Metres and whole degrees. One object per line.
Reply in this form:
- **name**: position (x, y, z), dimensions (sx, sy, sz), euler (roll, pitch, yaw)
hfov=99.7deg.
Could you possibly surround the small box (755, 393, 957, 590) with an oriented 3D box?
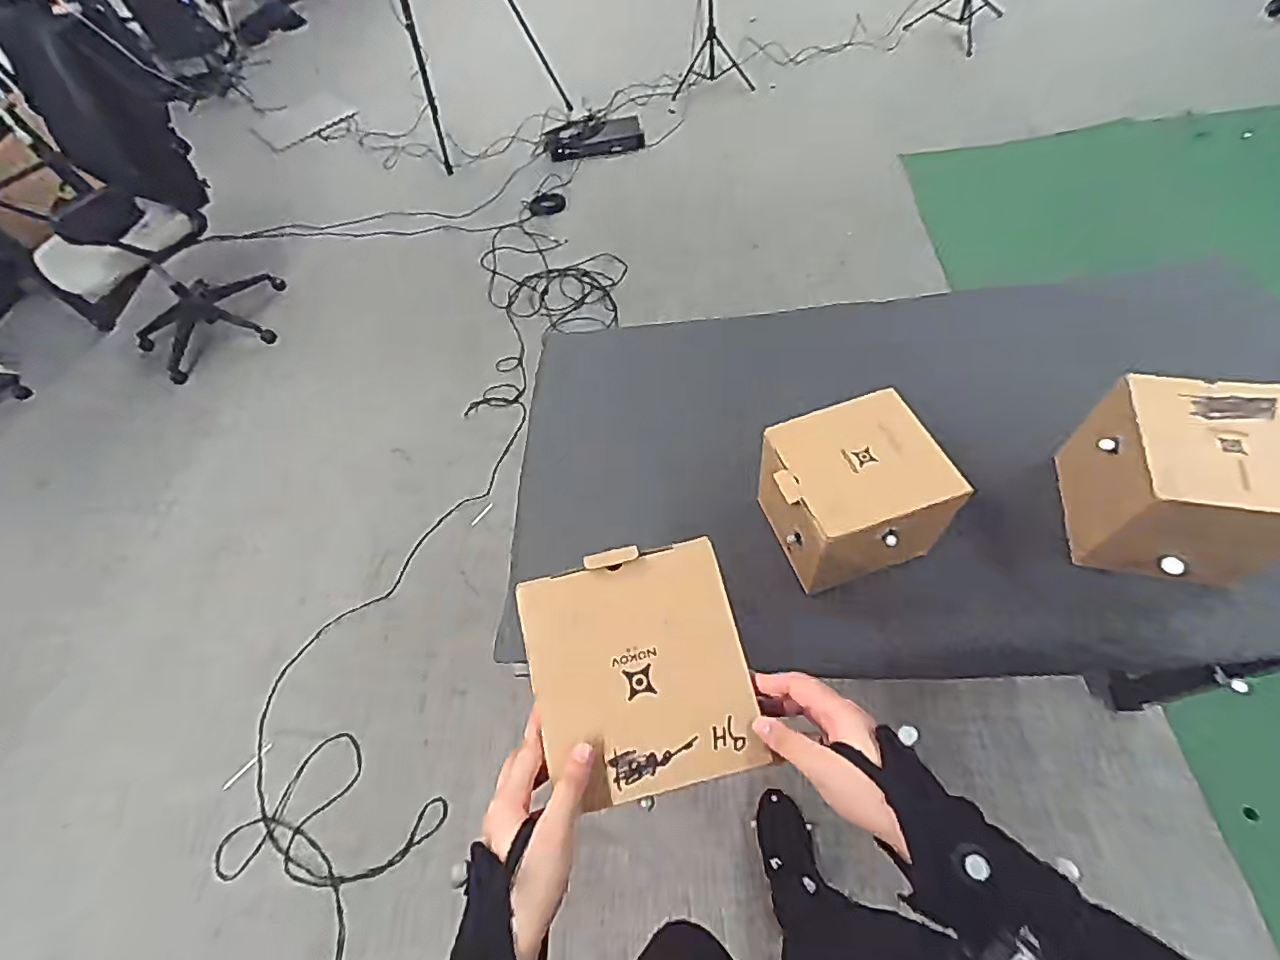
- **small box**: position (0.261, 0.023, 0.705), dimensions (0.179, 0.176, 0.168), euler (-19, 57, -3)

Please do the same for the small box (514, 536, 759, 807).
- **small box**: position (-0.006, 0.168, 0.507), dimensions (0.168, 0.176, 0.179), euler (-15, 75, -2)

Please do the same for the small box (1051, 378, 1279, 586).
- **small box**: position (0.628, 0.004, 0.646), dimensions (0.168, 0.176, 0.179), euler (8, 60, 15)
